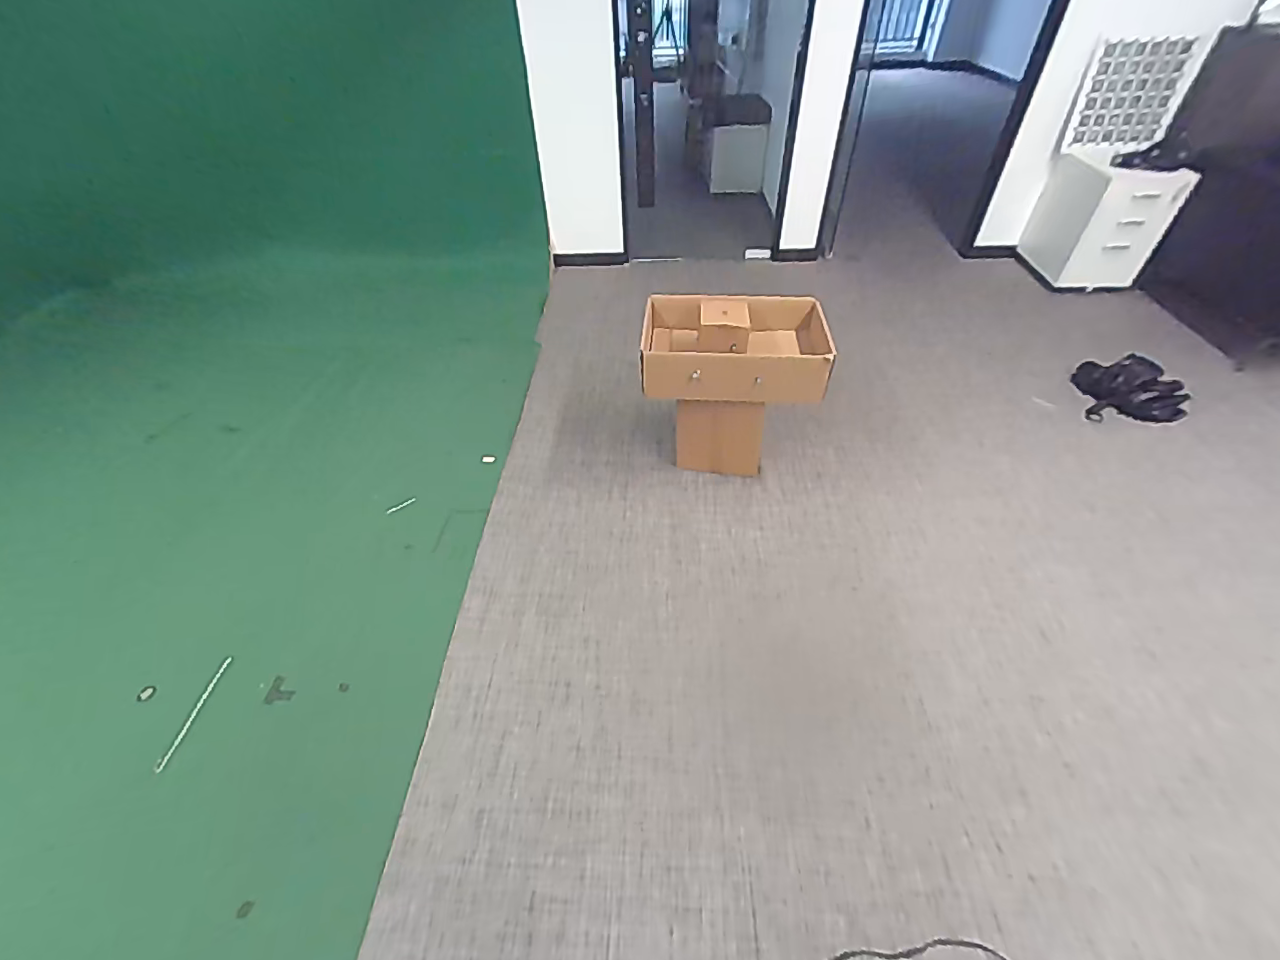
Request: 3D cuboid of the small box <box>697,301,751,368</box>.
[{"bbox_3d":[0.289,-0.505,1.887,0.168,0.176,0.179,4,43,2],"label":"small box"}]
